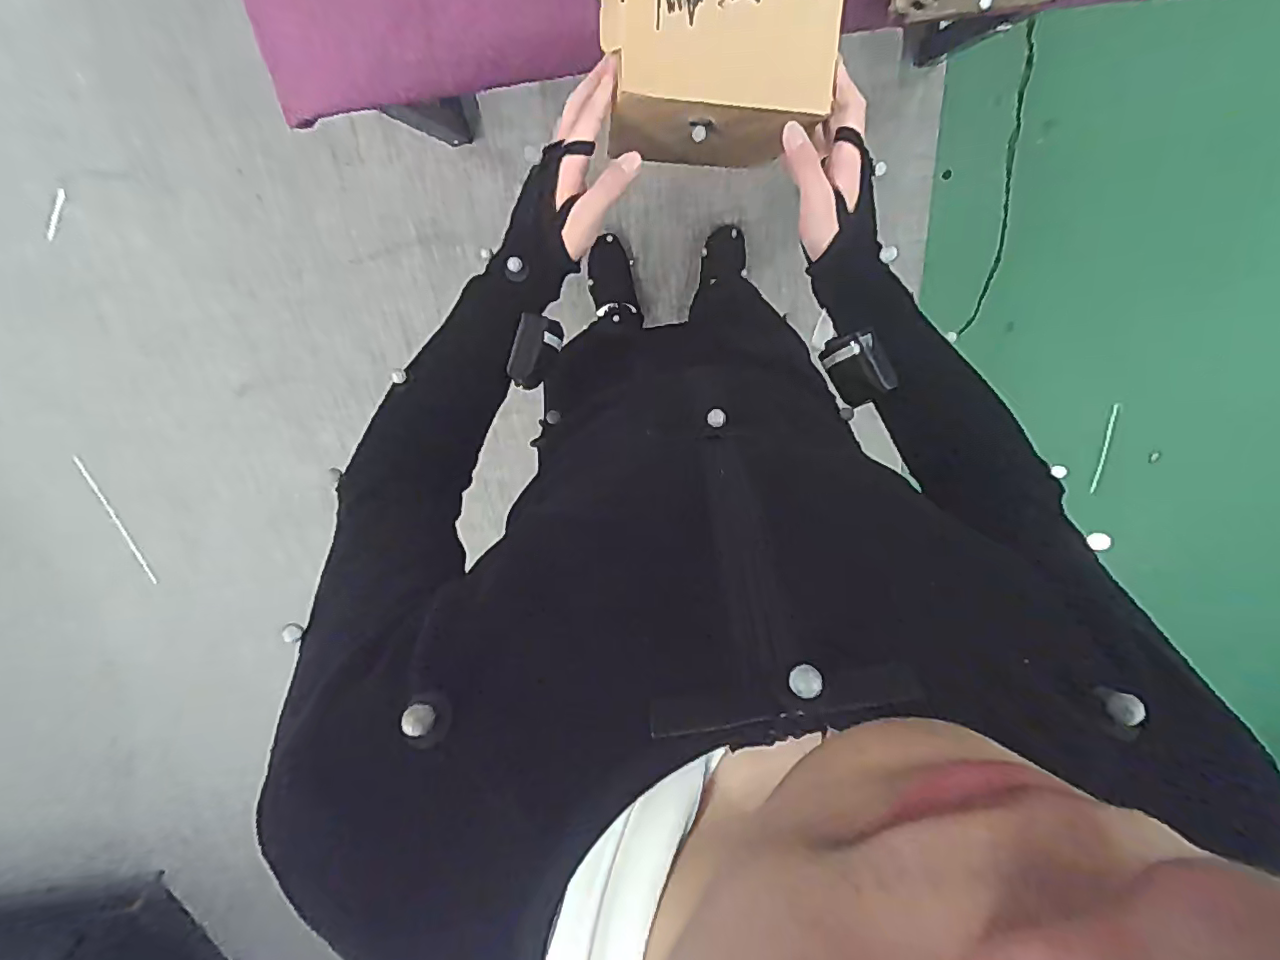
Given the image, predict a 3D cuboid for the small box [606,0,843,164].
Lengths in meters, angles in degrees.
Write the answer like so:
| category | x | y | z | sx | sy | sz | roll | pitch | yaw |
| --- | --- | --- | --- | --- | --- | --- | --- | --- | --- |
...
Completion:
| category | x | y | z | sx | sy | sz | roll | pitch | yaw |
| --- | --- | --- | --- | --- | --- | --- | --- | --- | --- |
| small box | 0.062 | -0.401 | 0.483 | 0.179 | 0.176 | 0.168 | 0 | 106 | -8 |
